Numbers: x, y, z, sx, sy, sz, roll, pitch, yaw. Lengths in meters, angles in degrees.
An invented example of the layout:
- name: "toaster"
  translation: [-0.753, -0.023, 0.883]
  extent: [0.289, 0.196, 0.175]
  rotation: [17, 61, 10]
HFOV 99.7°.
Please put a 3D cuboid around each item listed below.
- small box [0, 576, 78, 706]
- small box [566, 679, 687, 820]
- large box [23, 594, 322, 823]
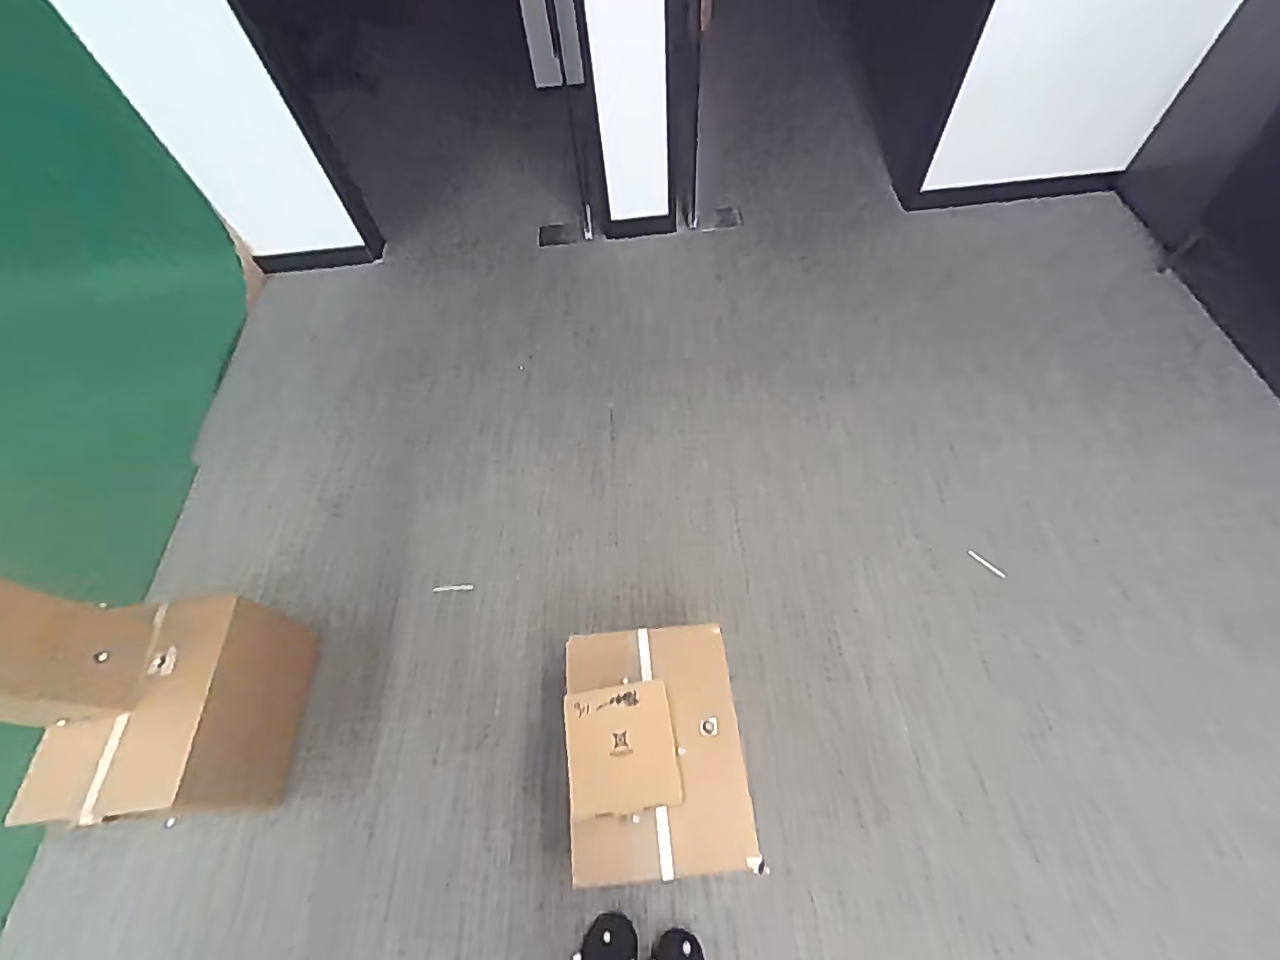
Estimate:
- name: "small box"
  translation: [-1.105, 0.269, 0.890]
  extent: [0.168, 0.176, 0.179]
  rotation: [-8, 60, 4]
- name: "small box"
  translation: [-0.018, 0.442, 0.890]
  extent: [0.168, 0.176, 0.179]
  rotation: [-10, 60, 1]
- name: "large box"
  translation: [-0.983, 0.513, 1.209]
  extent: [0.320, 0.320, 0.408]
  rotation: [-6, 58, 2]
